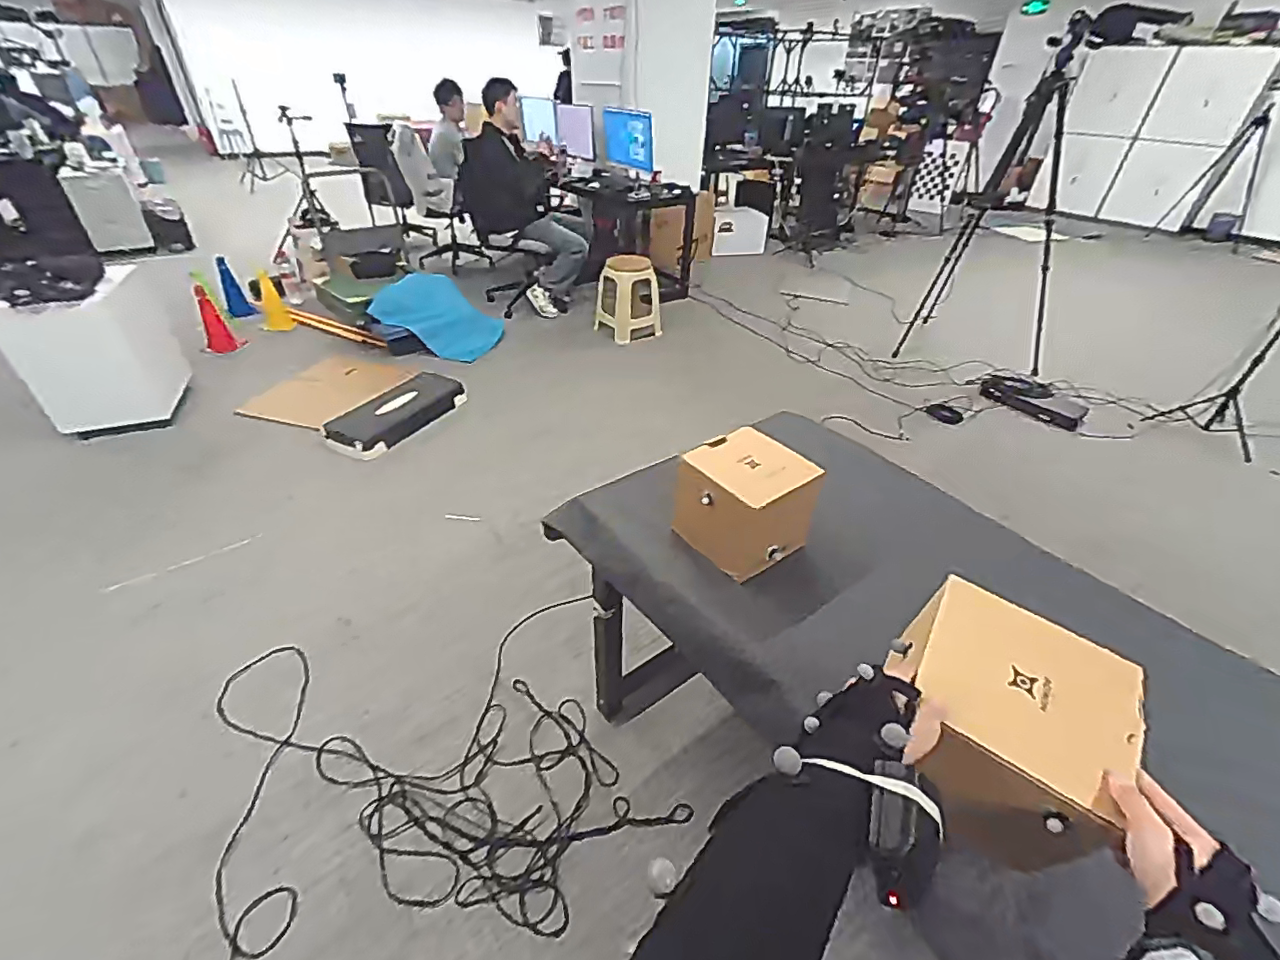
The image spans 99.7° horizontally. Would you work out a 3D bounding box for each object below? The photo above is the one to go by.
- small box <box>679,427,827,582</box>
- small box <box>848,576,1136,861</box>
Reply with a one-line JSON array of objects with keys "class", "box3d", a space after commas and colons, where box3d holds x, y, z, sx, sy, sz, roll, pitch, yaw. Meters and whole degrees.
[{"class": "small box", "box3d": [0.182, 0.040, 0.923, 0.168, 0.176, 0.179, -25, 45, -30]}, {"class": "small box", "box3d": [0.333, 0.236, 0.535, 0.179, 0.176, 0.168, 28, 51, 21]}]
